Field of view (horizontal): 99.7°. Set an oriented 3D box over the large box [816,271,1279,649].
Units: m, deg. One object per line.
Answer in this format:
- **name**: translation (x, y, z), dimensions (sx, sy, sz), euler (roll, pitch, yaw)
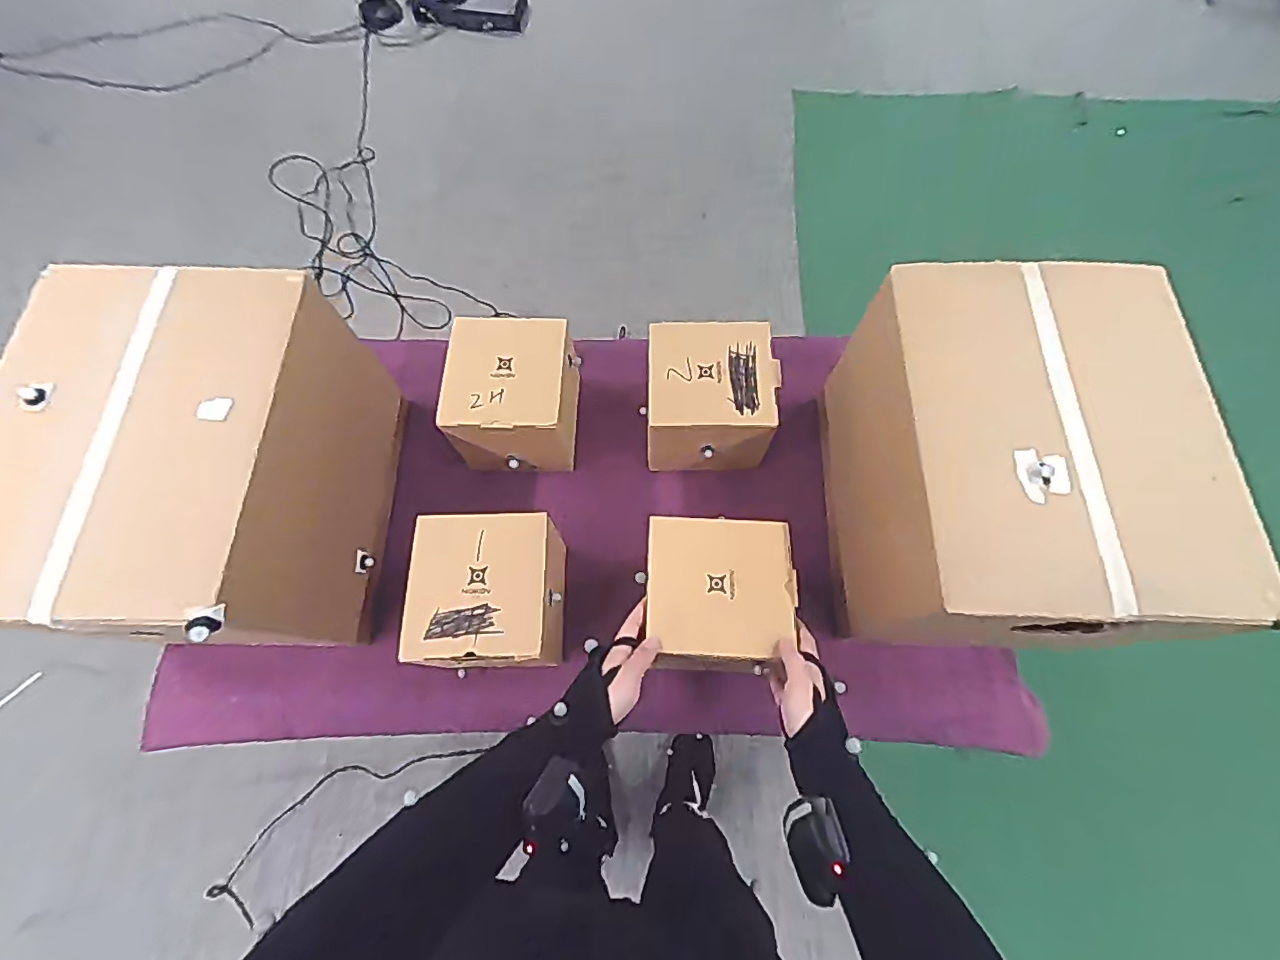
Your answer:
- **large box**: translation (0.438, -0.003, 0.697), dimensions (0.320, 0.320, 0.408), euler (1, 70, 3)
